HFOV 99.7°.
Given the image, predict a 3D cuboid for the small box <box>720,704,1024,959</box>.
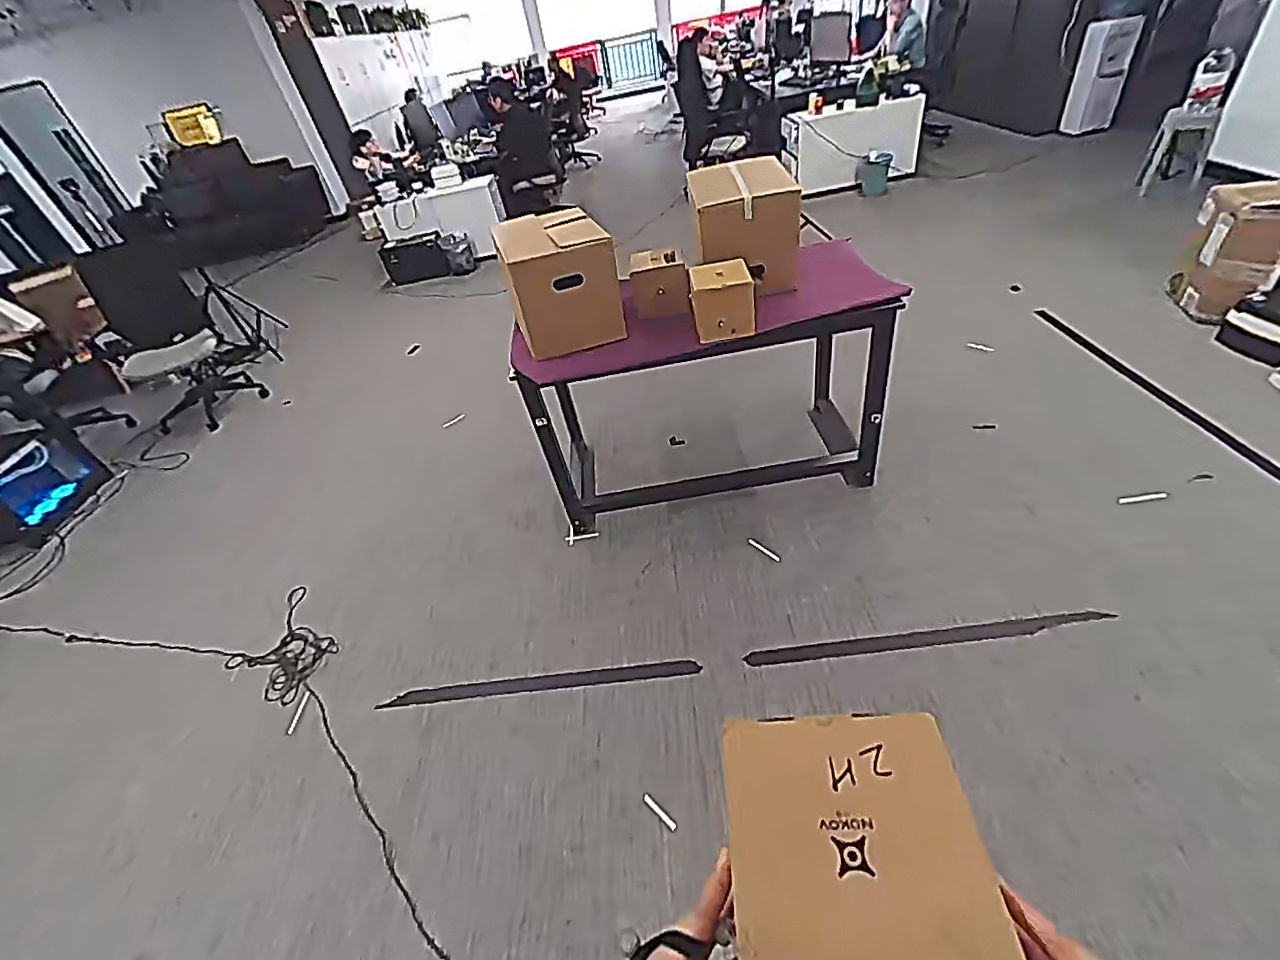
[{"bbox_3d":[0.154,0.298,0.414,0.168,0.176,0.179,-6,39,8],"label":"small box"}]
